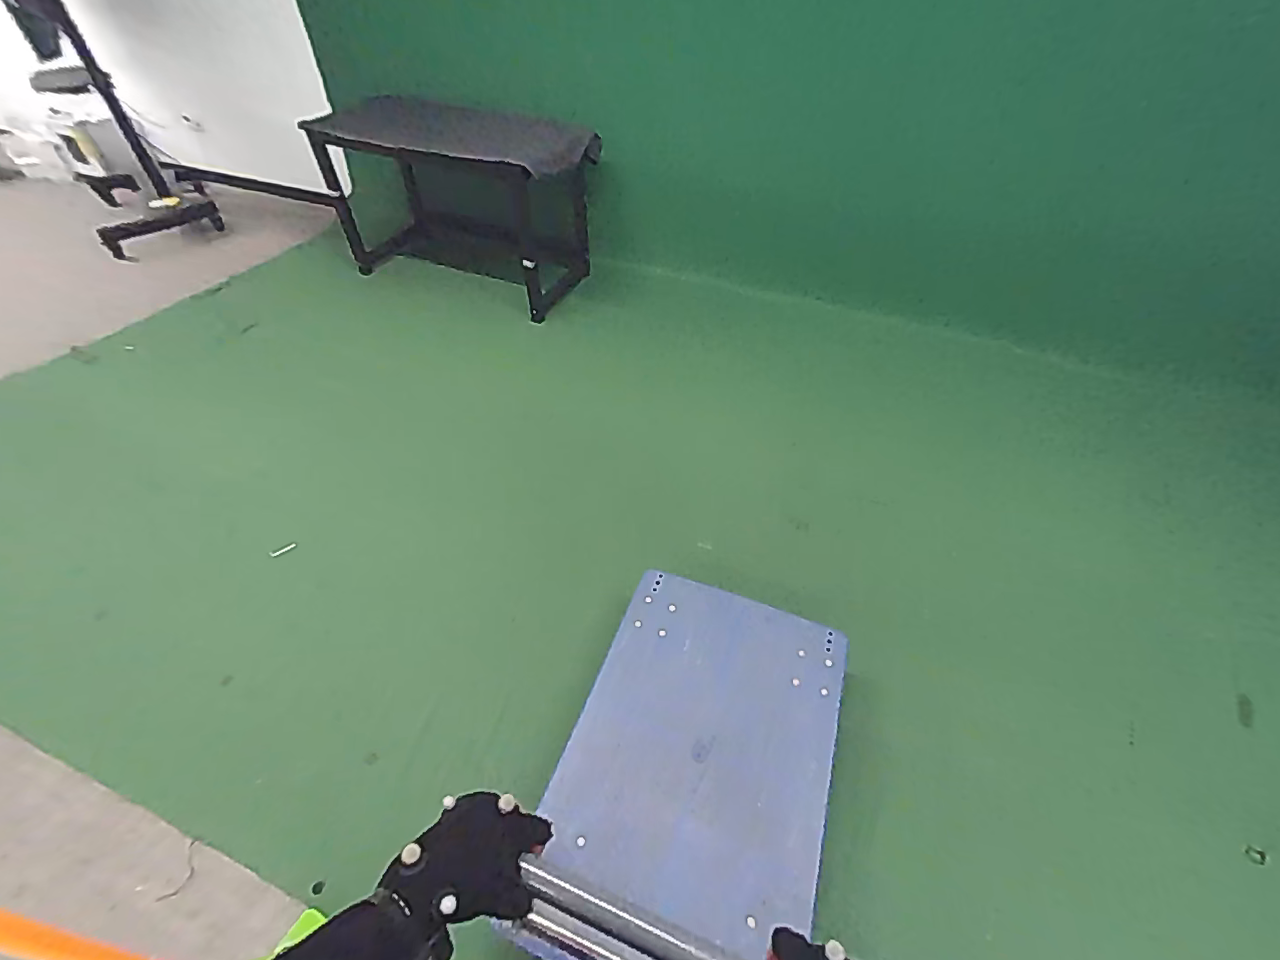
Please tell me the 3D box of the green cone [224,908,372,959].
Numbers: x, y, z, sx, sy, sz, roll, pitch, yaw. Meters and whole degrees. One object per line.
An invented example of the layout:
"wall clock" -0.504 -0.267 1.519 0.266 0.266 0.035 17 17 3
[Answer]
"green cone" -0.660 0.880 0.944 0.202 0.368 0.200 20 48 17
